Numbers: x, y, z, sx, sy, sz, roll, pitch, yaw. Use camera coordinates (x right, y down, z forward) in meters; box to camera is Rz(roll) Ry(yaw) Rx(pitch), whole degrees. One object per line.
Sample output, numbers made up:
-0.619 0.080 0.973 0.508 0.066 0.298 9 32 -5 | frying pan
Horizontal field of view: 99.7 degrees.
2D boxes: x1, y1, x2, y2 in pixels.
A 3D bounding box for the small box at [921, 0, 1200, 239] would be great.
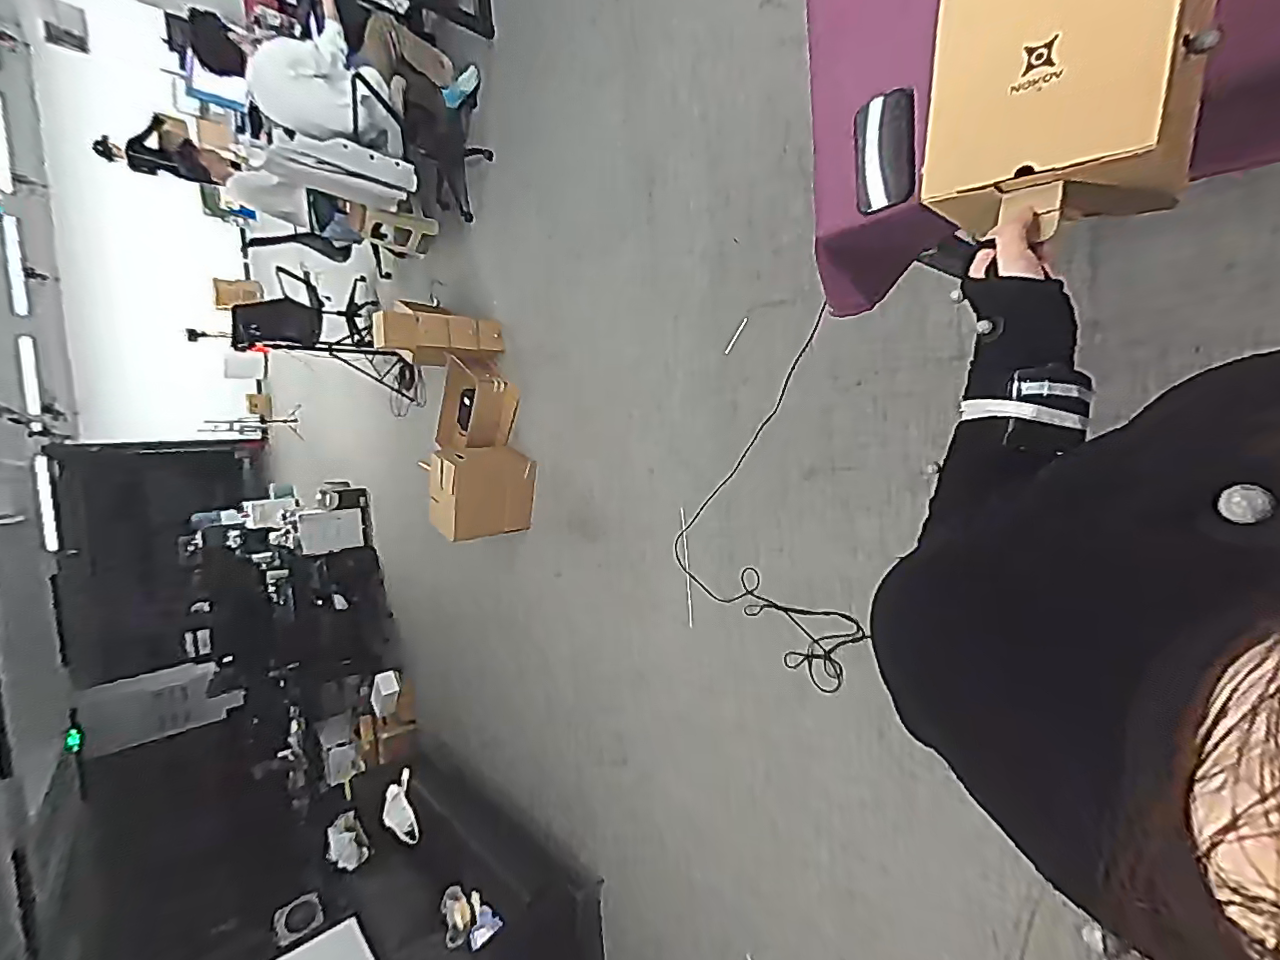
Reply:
0.387 -0.344 0.500 0.168 0.176 0.179 12 104 47 | small box
